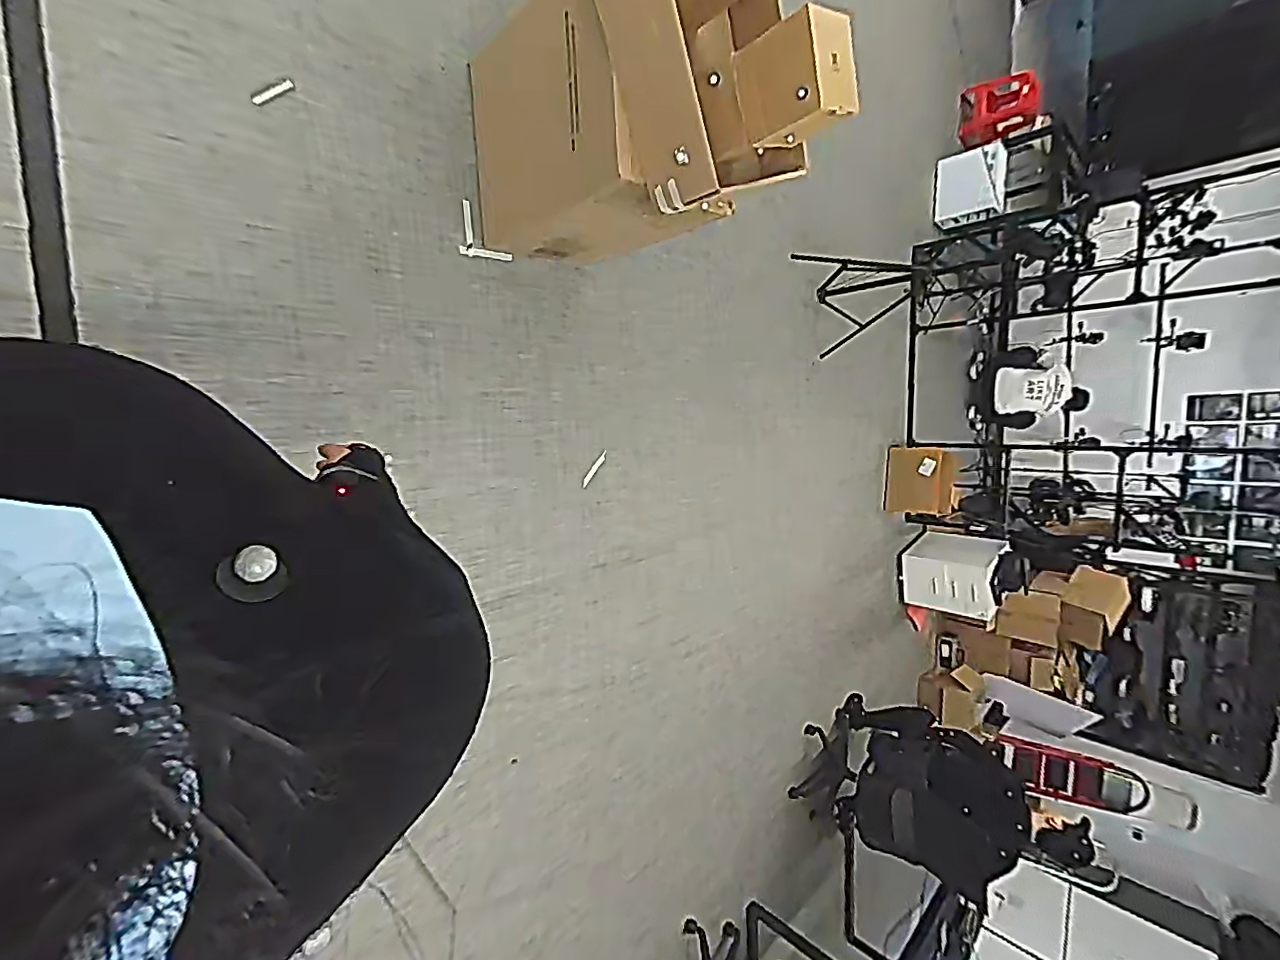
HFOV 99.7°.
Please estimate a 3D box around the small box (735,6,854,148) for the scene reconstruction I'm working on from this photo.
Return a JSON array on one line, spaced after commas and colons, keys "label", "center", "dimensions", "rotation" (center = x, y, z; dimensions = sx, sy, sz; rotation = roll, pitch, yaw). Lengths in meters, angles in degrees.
[{"label": "small box", "center": [0.315, -0.815, 1.113], "dimensions": [0.168, 0.176, 0.179], "rotation": [-28, 112, -38]}]
